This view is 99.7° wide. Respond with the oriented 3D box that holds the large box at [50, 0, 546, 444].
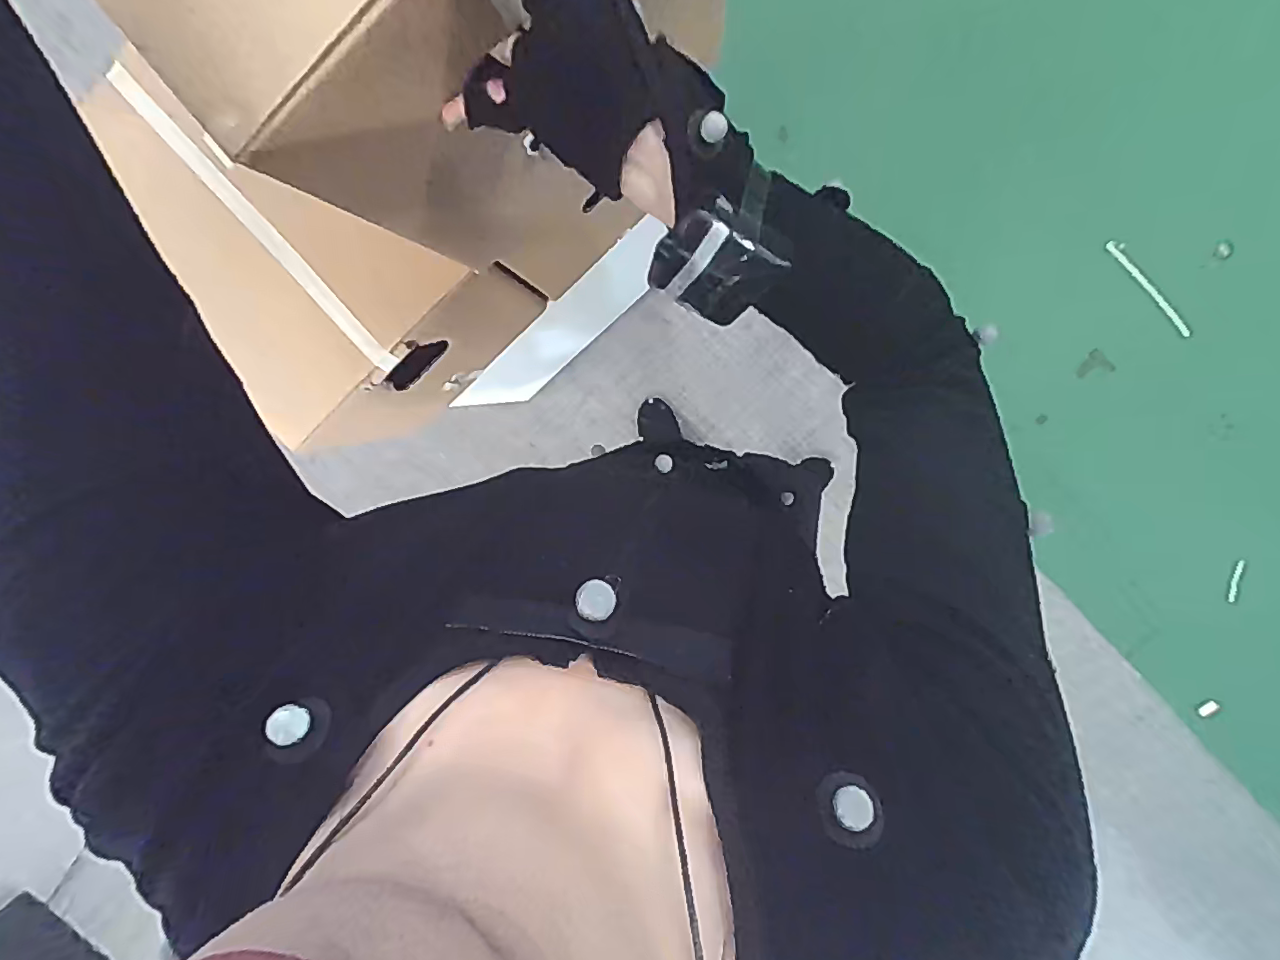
[{"bbox_3d":[-0.400,-0.303,0.732,0.320,0.320,0.408,-42,93,9],"label":"large box"}]
